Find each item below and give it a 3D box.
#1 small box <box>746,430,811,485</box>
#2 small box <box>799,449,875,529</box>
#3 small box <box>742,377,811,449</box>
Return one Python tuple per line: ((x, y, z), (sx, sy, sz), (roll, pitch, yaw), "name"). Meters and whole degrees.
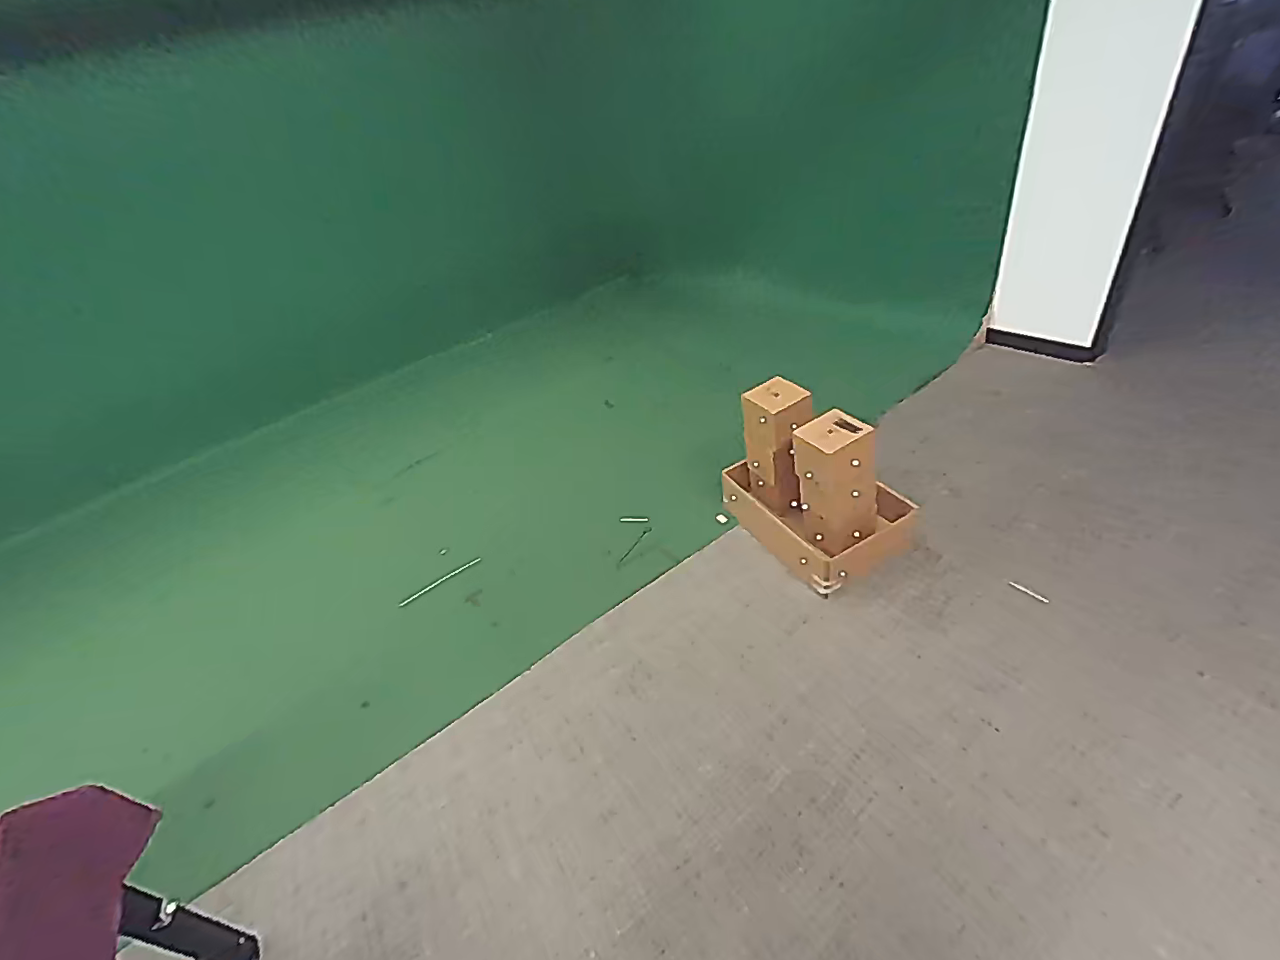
((0.515, -0.115, 2.016), (0.179, 0.176, 0.168), (-27, 40, -14), "small box")
((0.649, 0.030, 1.782), (0.179, 0.176, 0.168), (-27, 38, -15), "small box")
((0.482, -0.231, 1.902), (0.168, 0.176, 0.179), (-27, 40, -15), "small box")
